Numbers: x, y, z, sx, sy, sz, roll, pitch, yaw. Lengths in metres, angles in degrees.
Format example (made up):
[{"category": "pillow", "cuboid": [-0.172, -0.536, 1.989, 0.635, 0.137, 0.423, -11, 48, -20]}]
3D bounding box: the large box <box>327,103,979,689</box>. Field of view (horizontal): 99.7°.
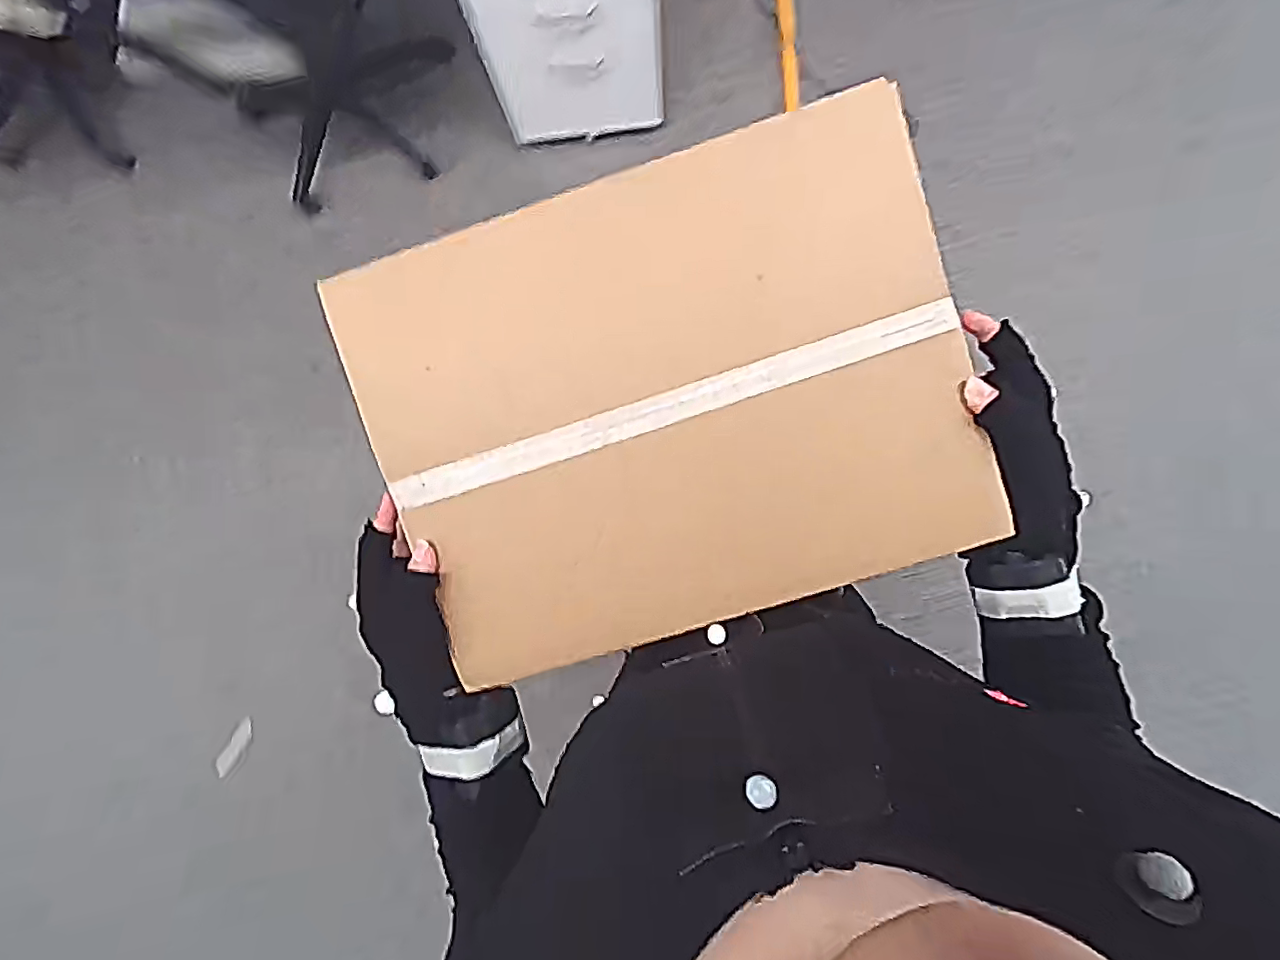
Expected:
[{"category": "large box", "cuboid": [0.016, -0.062, 0.533, 0.408, 0.320, 0.320, -18, 94, 4]}]
